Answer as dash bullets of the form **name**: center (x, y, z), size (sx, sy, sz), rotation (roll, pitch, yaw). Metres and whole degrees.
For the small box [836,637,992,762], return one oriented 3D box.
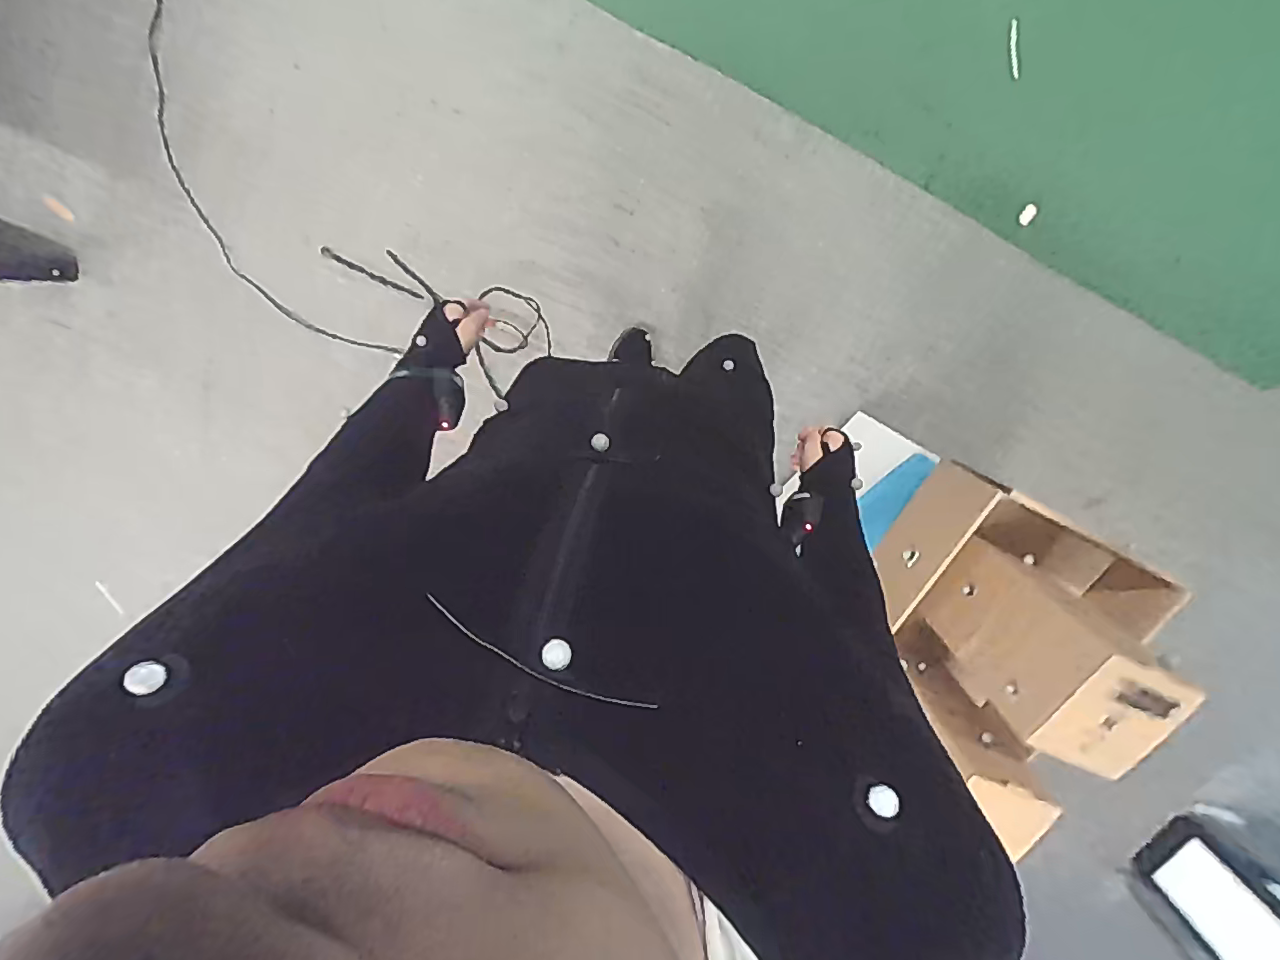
- **small box**: center (0.507, 0.434, 1.033), size (0.168, 0.176, 0.179), rotation (26, 108, -9)

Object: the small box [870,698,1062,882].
- **small box**: center (0.510, 0.492, 0.879), size (0.168, 0.176, 0.179), rotation (24, 106, -8)
